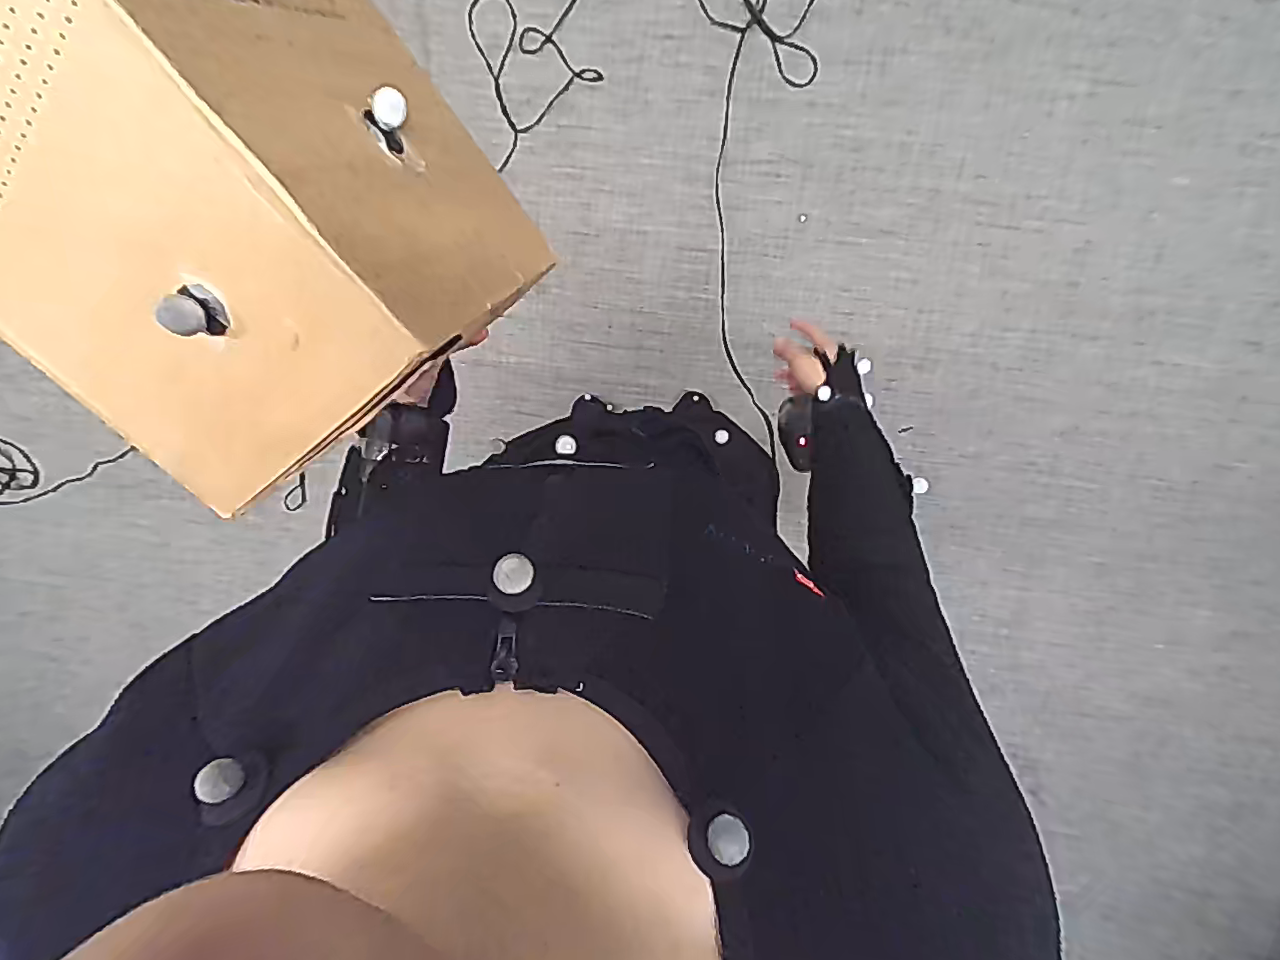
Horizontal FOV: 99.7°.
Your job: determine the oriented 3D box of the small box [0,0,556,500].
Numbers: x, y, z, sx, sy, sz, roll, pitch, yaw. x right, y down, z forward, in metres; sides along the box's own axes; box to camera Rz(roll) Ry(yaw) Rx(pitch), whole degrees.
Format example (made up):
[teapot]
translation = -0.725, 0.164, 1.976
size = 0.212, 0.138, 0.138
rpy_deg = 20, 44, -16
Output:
[small box]
translation = -0.180, -0.127, 0.287
size = 0.179, 0.168, 0.176
rpy_deg = -28, 115, 27
